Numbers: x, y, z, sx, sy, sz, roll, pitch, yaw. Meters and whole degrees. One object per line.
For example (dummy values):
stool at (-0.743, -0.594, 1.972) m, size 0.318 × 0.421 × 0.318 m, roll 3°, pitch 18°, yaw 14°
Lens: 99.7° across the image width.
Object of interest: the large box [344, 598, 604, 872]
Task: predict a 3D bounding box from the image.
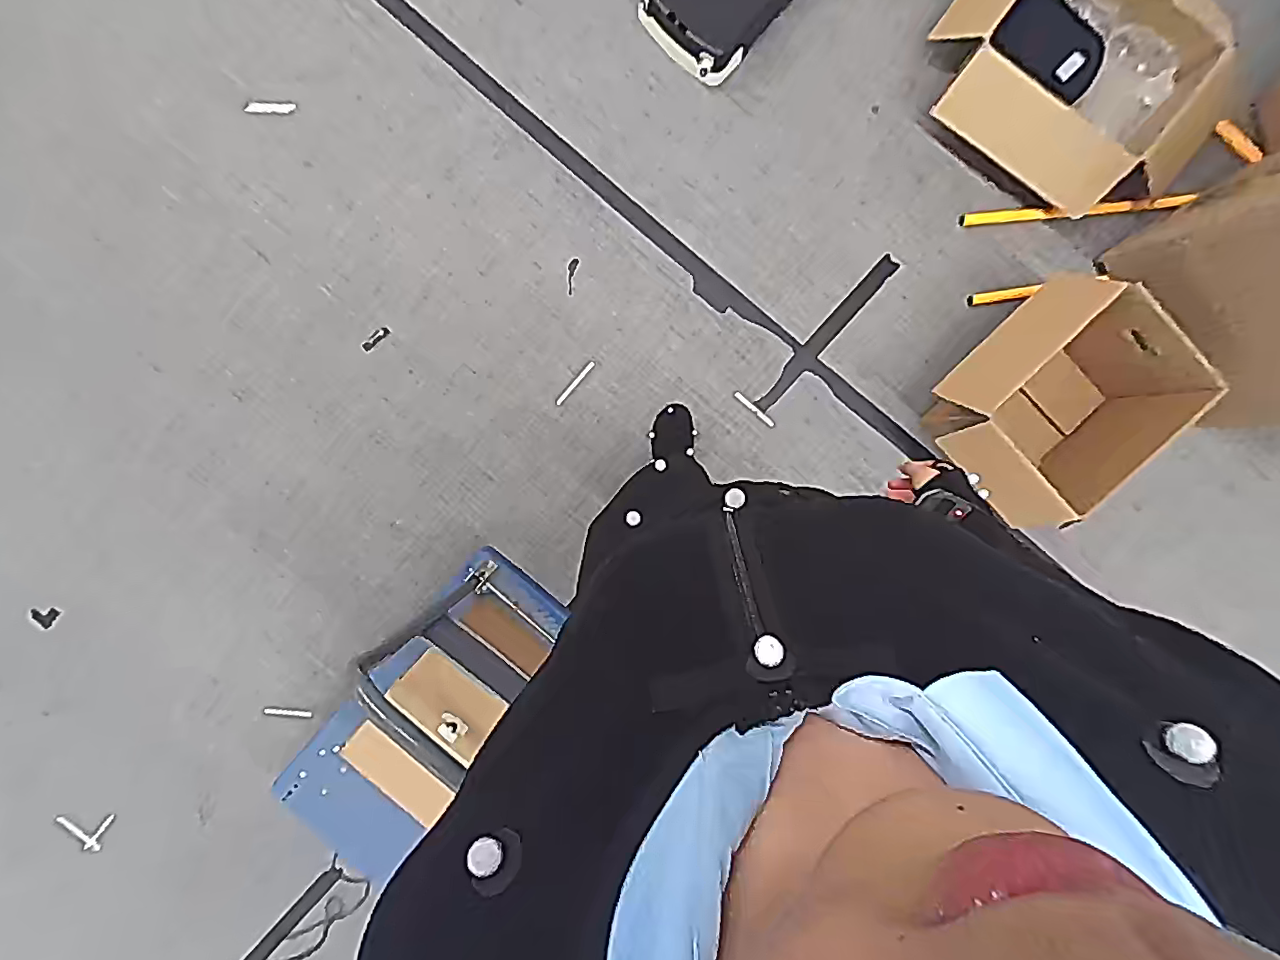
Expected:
large box at (-0.340, 0.543, 1.221) m, size 0.408 × 0.320 × 0.320 m, roll 42°, pitch 93°, yaw -1°
